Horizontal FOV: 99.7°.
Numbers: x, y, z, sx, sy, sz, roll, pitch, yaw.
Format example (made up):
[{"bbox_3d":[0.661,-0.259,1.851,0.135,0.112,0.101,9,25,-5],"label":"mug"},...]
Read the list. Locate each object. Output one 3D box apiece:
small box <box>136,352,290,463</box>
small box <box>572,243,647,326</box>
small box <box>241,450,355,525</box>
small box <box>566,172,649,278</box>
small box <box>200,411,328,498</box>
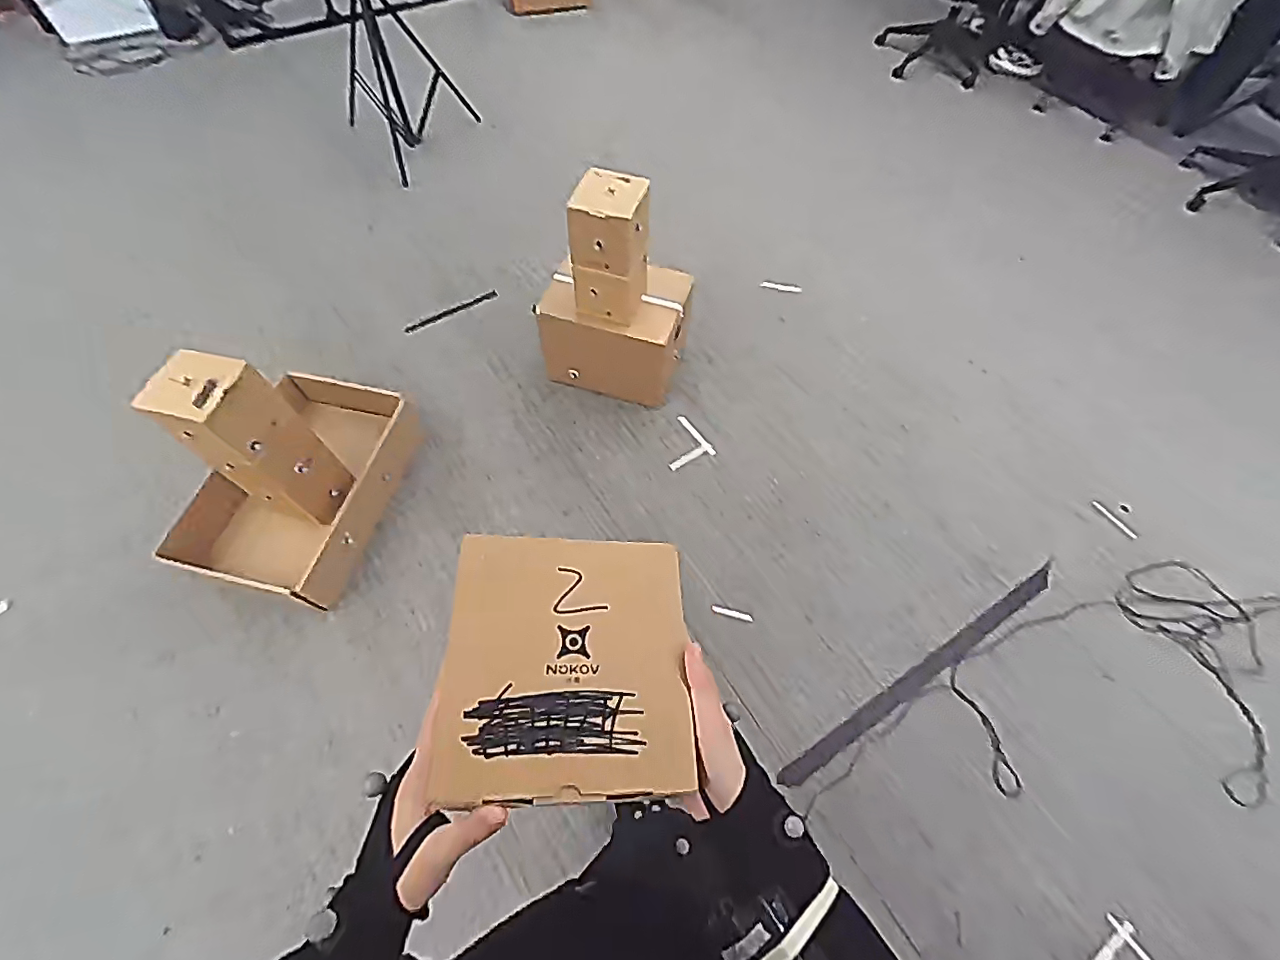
[{"bbox_3d":[-0.938,-0.155,1.211,0.179,0.176,0.168,12,61,7],"label":"small box"},{"bbox_3d":[-0.082,-0.569,1.543,0.168,0.176,0.179,16,61,7],"label":"small box"},{"bbox_3d":[-0.936,0.007,1.494,0.179,0.176,0.168,15,62,7],"label":"small box"},{"bbox_3d":[-0.078,-0.658,1.405,0.168,0.176,0.179,16,62,7],"label":"small box"},{"bbox_3d":[-0.935,-0.074,1.354,0.179,0.176,0.168,14,62,6],"label":"small box"}]
